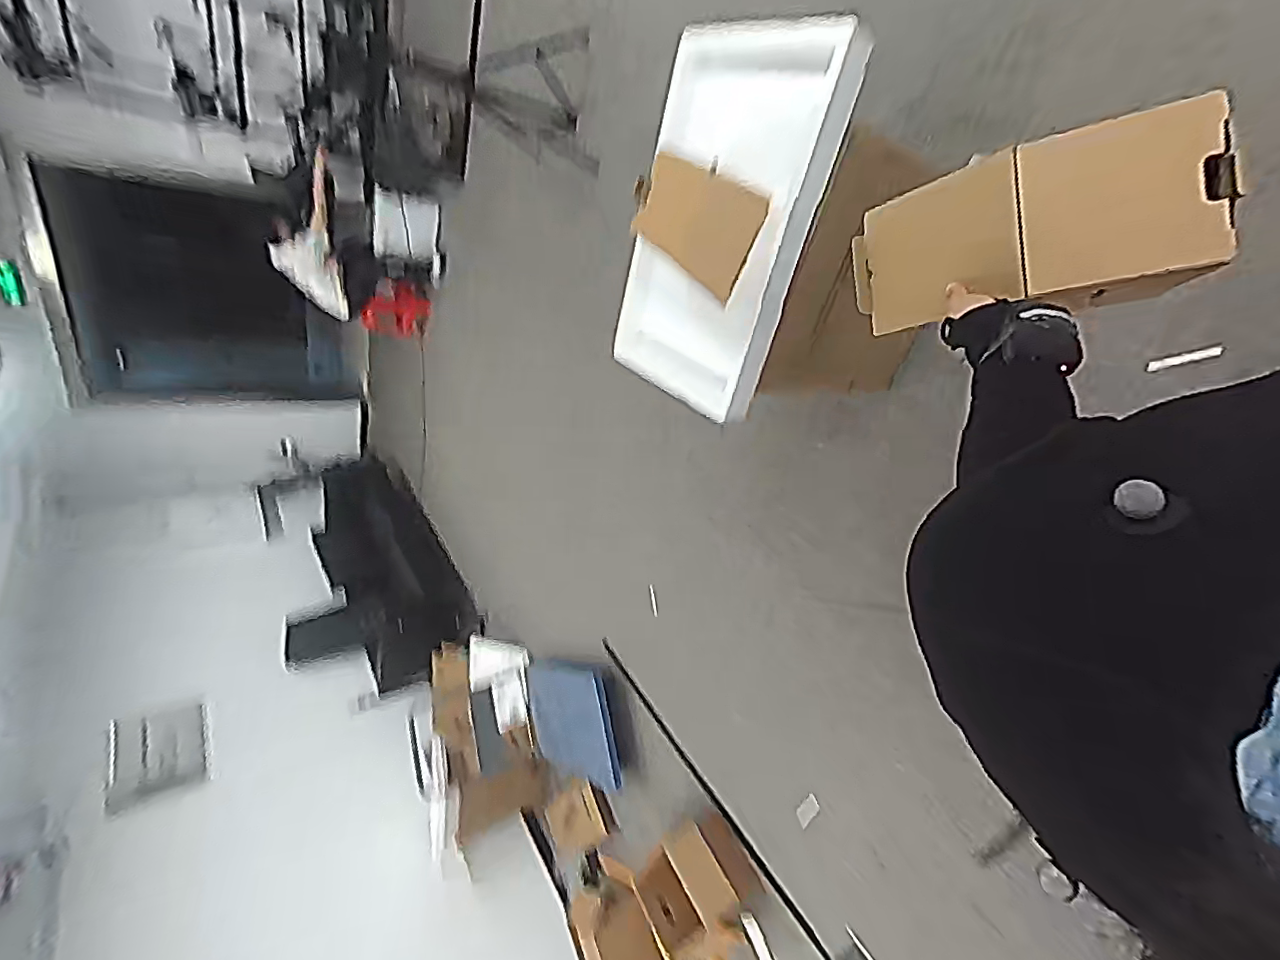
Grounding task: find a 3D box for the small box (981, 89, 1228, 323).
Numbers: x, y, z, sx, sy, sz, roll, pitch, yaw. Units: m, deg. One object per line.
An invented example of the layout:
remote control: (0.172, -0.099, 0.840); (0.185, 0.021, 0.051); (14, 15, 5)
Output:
small box: (0.509, -0.290, 0.623); (0.179, 0.176, 0.168); (-6, 93, 24)
